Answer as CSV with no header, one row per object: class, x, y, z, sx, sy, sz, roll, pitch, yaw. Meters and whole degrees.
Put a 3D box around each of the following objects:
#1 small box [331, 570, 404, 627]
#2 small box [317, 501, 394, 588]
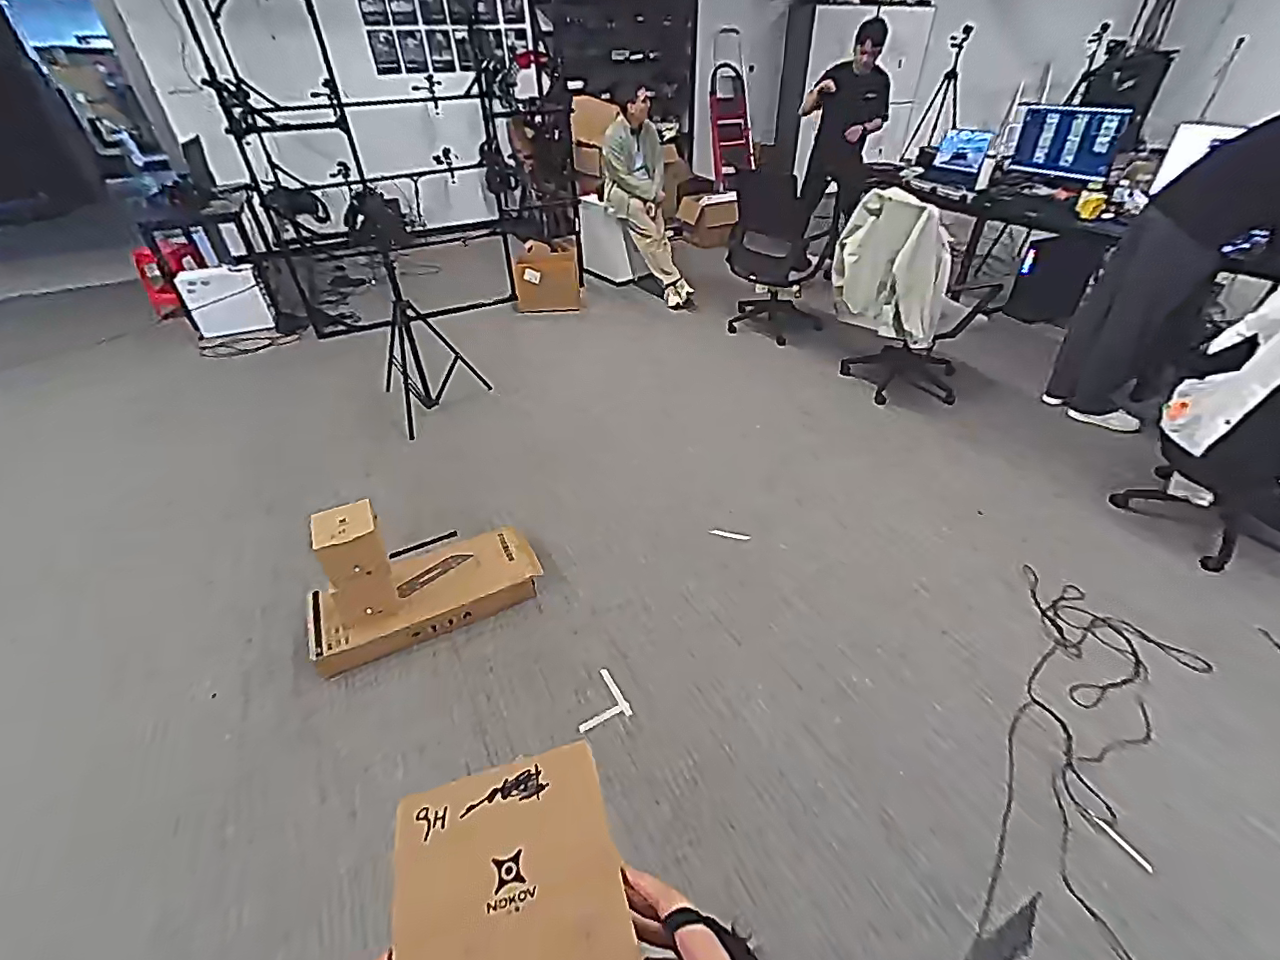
small box,-0.881,0.337,1.747,0.168,0.176,0.179,-20,42,-22
small box,-0.872,0.197,1.658,0.168,0.176,0.179,-19,41,-21
